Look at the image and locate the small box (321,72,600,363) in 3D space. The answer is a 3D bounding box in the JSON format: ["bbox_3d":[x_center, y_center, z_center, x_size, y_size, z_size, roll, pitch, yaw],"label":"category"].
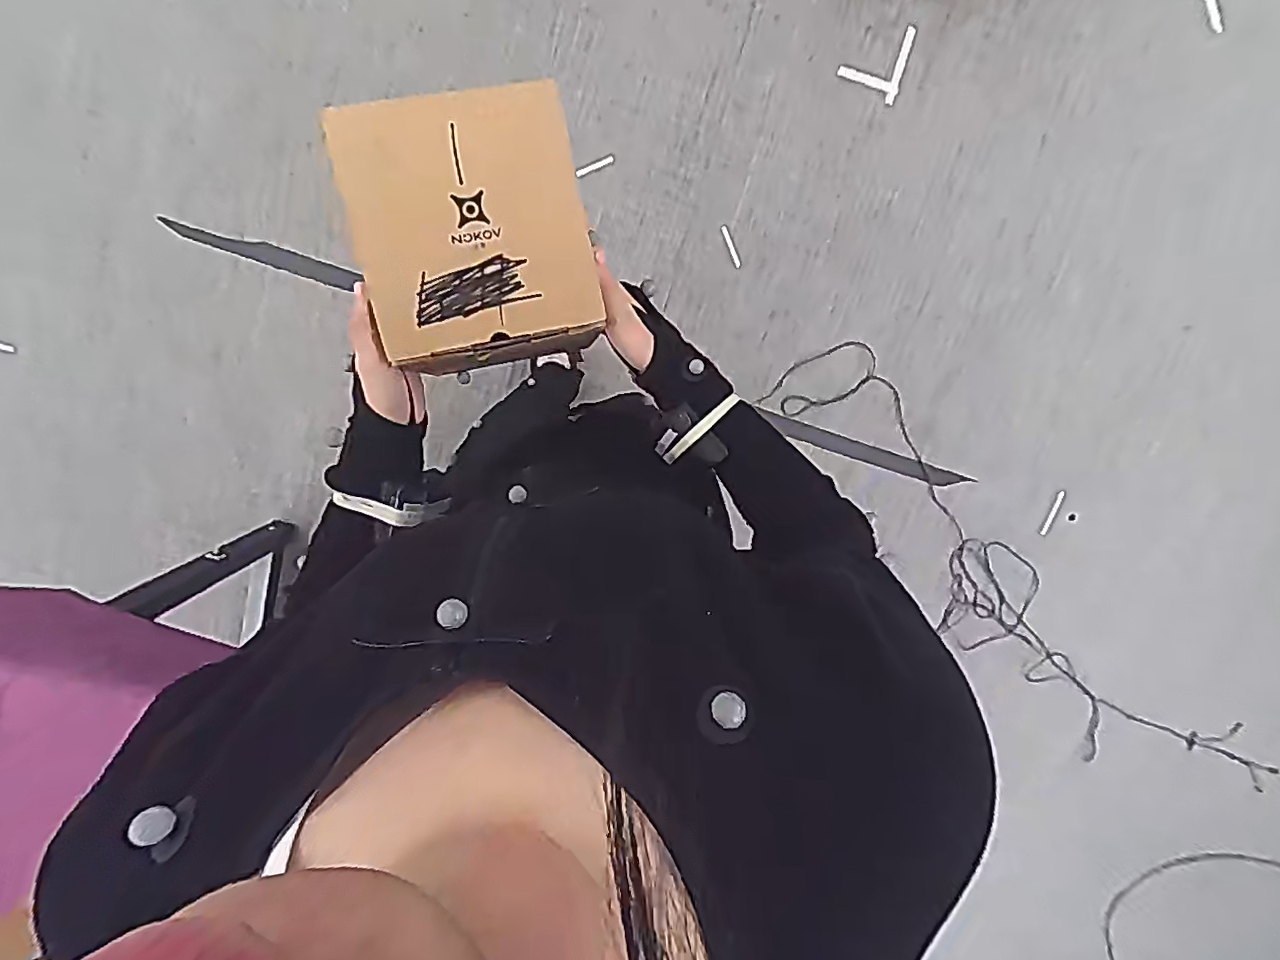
[{"bbox_3d":[-0.135,-0.201,0.466,0.168,0.176,0.179,-12,98,-9],"label":"small box"}]

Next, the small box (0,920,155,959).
[{"bbox_3d":[-0.689,0.627,0.586,0.179,0.176,0.168,12,101,-6],"label":"small box"}]
